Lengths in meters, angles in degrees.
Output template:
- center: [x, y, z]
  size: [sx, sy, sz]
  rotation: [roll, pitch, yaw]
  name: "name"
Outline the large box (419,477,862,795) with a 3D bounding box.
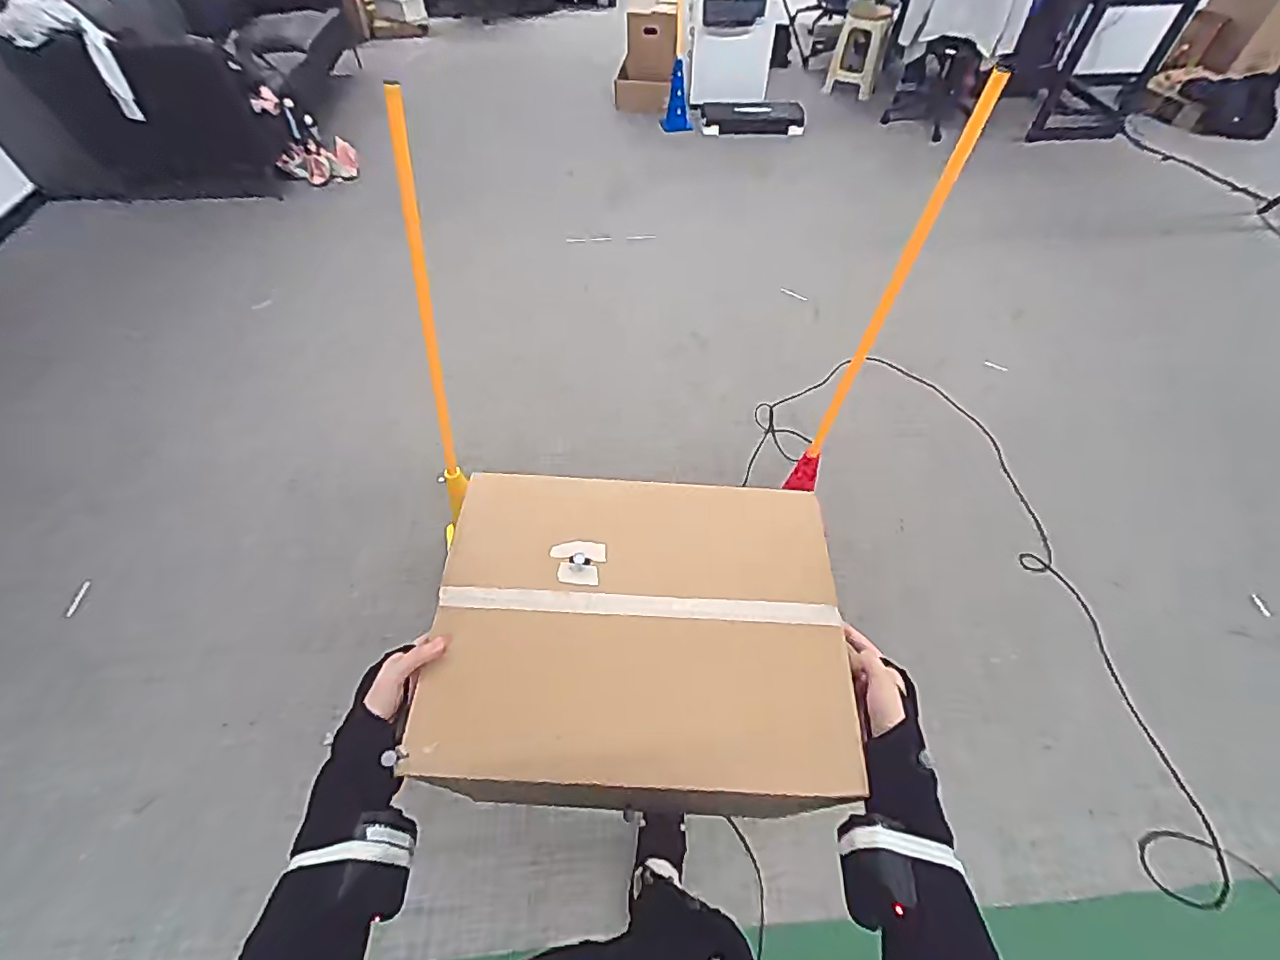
- center: [0.003, 0.211, 0.685]
  size: [0.408, 0.320, 0.320]
  rotation: [2, 55, 0]
  name: "large box"
